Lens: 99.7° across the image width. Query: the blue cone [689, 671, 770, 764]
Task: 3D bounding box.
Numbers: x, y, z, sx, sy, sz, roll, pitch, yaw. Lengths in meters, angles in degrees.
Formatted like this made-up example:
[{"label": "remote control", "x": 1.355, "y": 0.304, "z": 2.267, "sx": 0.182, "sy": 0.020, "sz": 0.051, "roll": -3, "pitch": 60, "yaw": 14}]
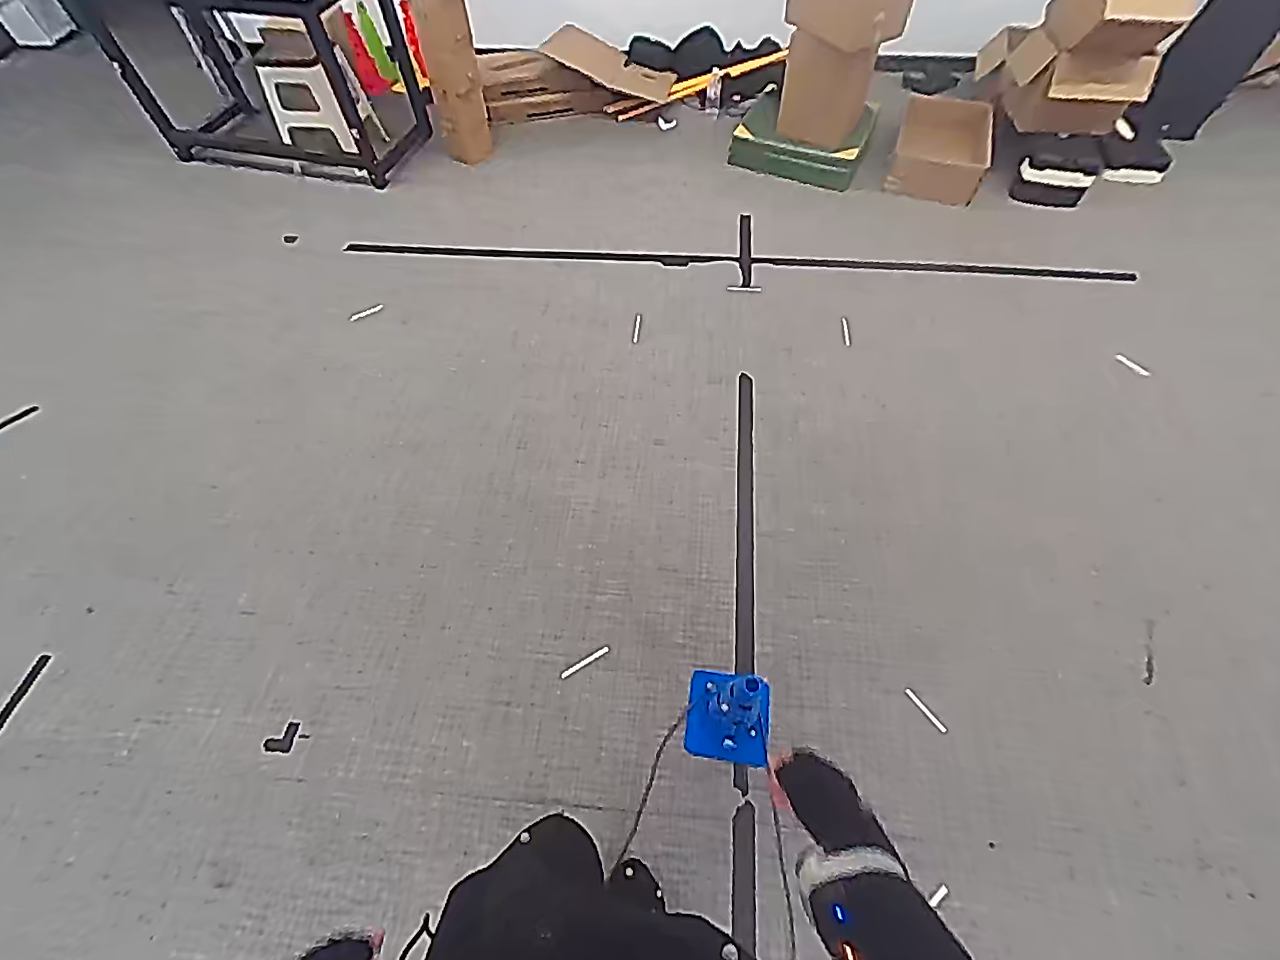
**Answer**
[{"label": "blue cone", "x": 0.213, "y": 0.487, "z": 1.171, "sx": 0.193, "sy": 0.380, "sz": 0.192, "roll": 6, "pitch": 58, "yaw": 5}]
